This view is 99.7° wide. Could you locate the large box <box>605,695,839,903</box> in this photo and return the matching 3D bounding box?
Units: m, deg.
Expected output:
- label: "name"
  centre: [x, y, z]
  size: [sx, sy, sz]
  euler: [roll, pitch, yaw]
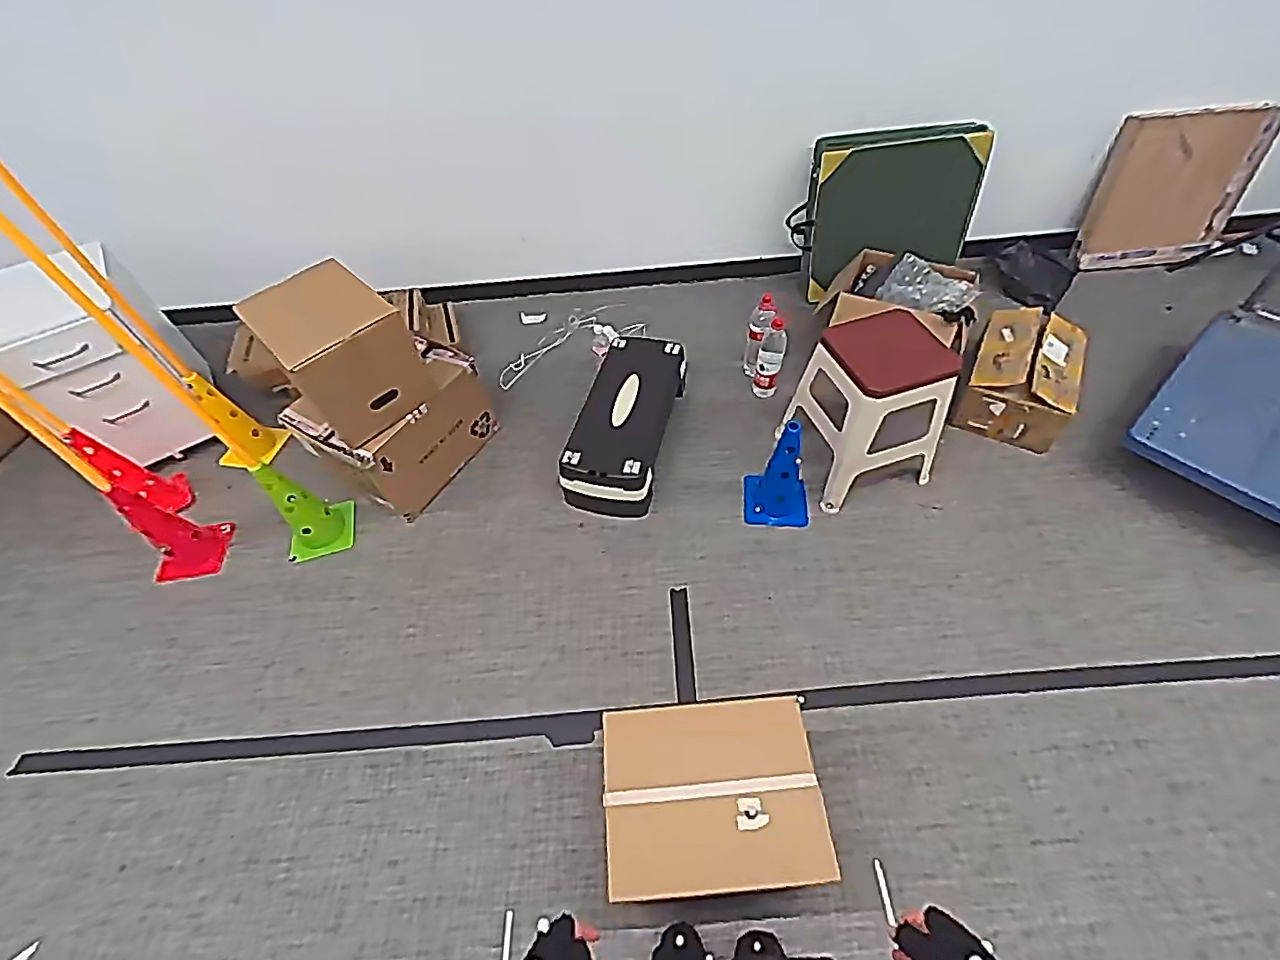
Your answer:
- label: "large box"
  centre: [0.143, 0.677, 1.140]
  size: [0.408, 0.320, 0.320]
  euler: [-5, 53, -1]
